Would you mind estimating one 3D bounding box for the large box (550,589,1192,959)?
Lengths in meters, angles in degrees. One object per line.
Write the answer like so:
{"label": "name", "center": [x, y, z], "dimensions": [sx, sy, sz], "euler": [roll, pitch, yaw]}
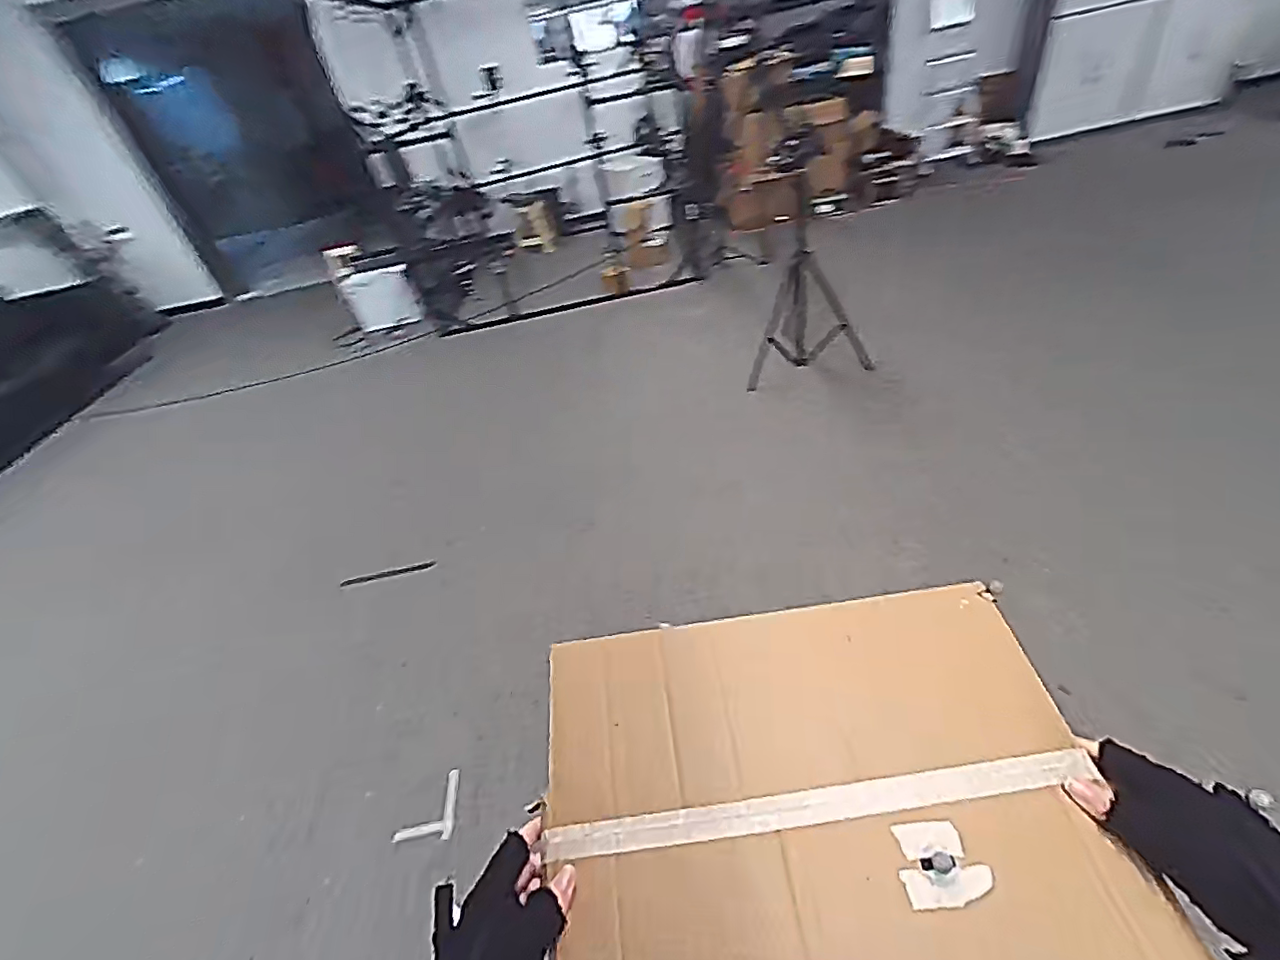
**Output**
{"label": "large box", "center": [0.145, 0.348, 0.521], "dimensions": [0.408, 0.320, 0.320], "euler": [-9, 49, -1]}
